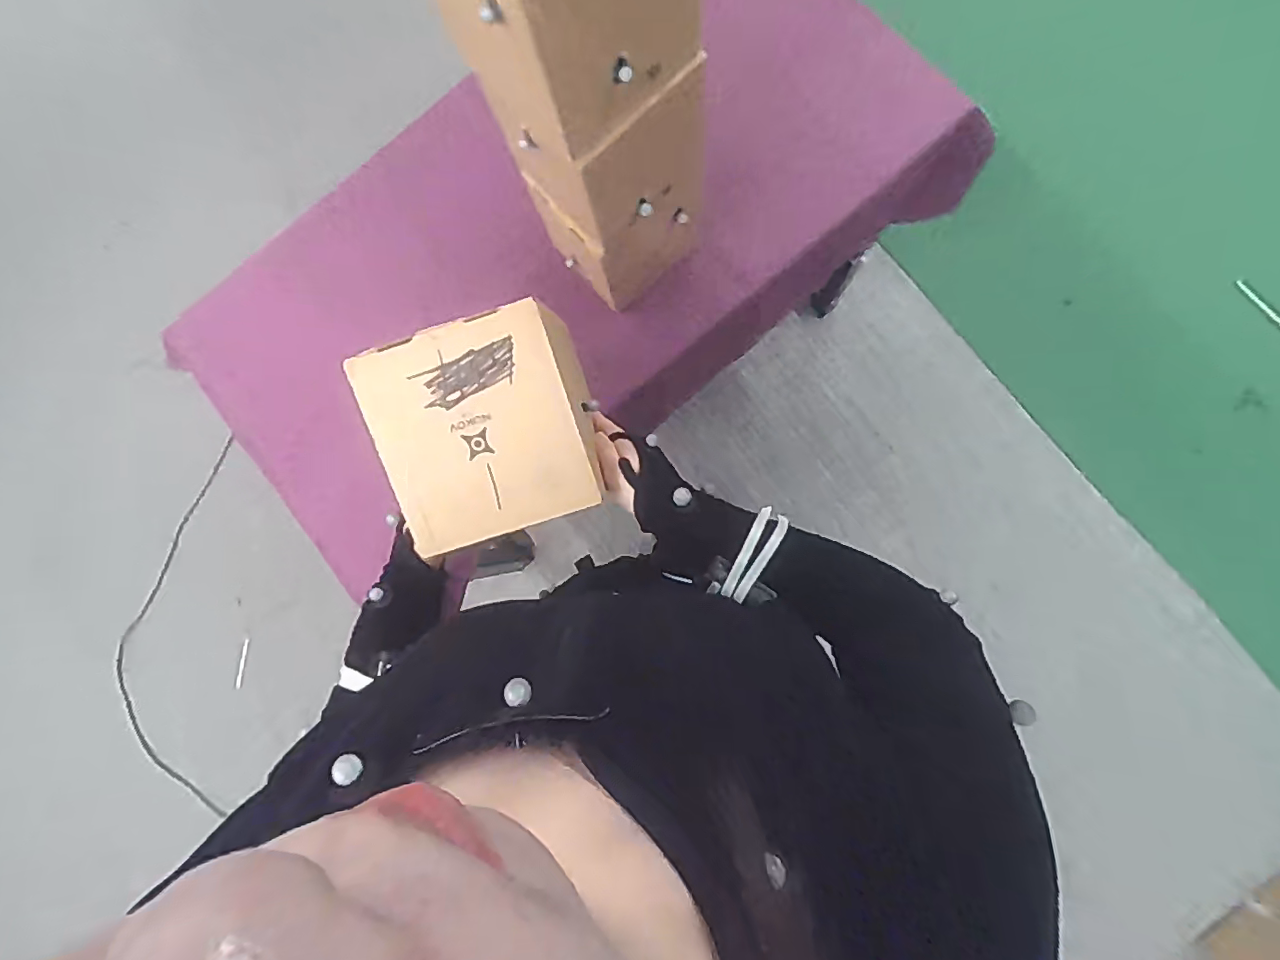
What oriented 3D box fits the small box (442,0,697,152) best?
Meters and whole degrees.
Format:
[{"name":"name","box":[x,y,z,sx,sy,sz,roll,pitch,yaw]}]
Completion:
[{"name":"small box","box":[-0.068,-0.425,0.447,0.168,0.176,0.179,-44,83,1]}]

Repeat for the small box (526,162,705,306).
[{"name":"small box","box":[-0.027,-0.387,0.768,0.179,0.176,0.168,-40,81,0]}]

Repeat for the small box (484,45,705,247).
[{"name":"small box","box":[-0.046,-0.406,0.607,0.168,0.176,0.179,-41,83,1]}]
